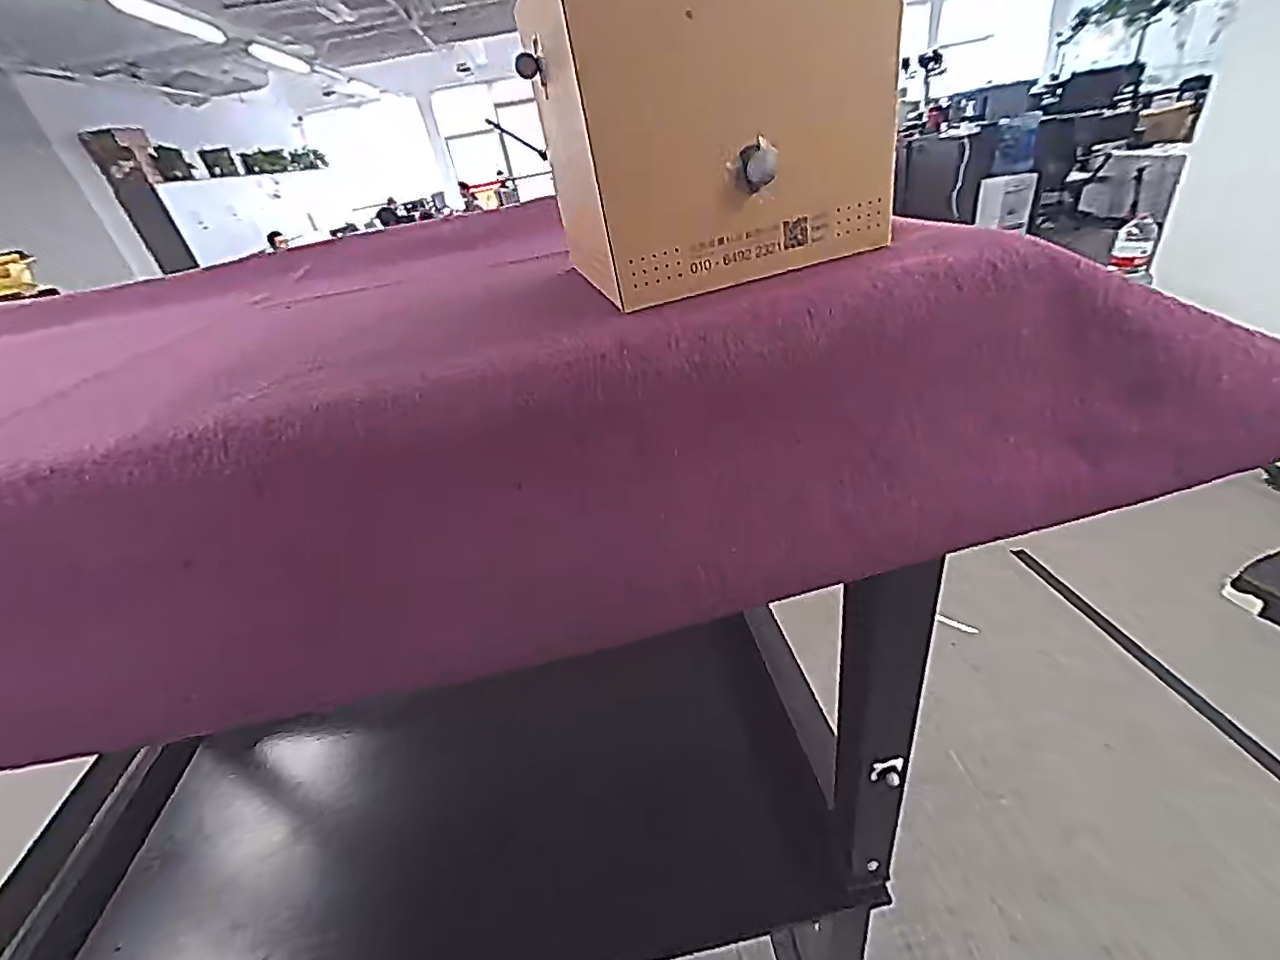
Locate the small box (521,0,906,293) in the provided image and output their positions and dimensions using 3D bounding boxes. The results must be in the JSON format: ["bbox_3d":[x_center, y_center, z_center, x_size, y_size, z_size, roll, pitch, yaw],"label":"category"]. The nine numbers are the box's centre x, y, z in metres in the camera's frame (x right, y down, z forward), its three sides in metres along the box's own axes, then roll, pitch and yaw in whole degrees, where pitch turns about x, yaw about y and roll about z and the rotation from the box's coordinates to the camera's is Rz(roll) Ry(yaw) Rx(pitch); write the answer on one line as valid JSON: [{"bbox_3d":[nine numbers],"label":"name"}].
[{"bbox_3d":[0.033,-0.224,0.332,0.168,0.176,0.179,-17,32,-8],"label":"small box"}]
